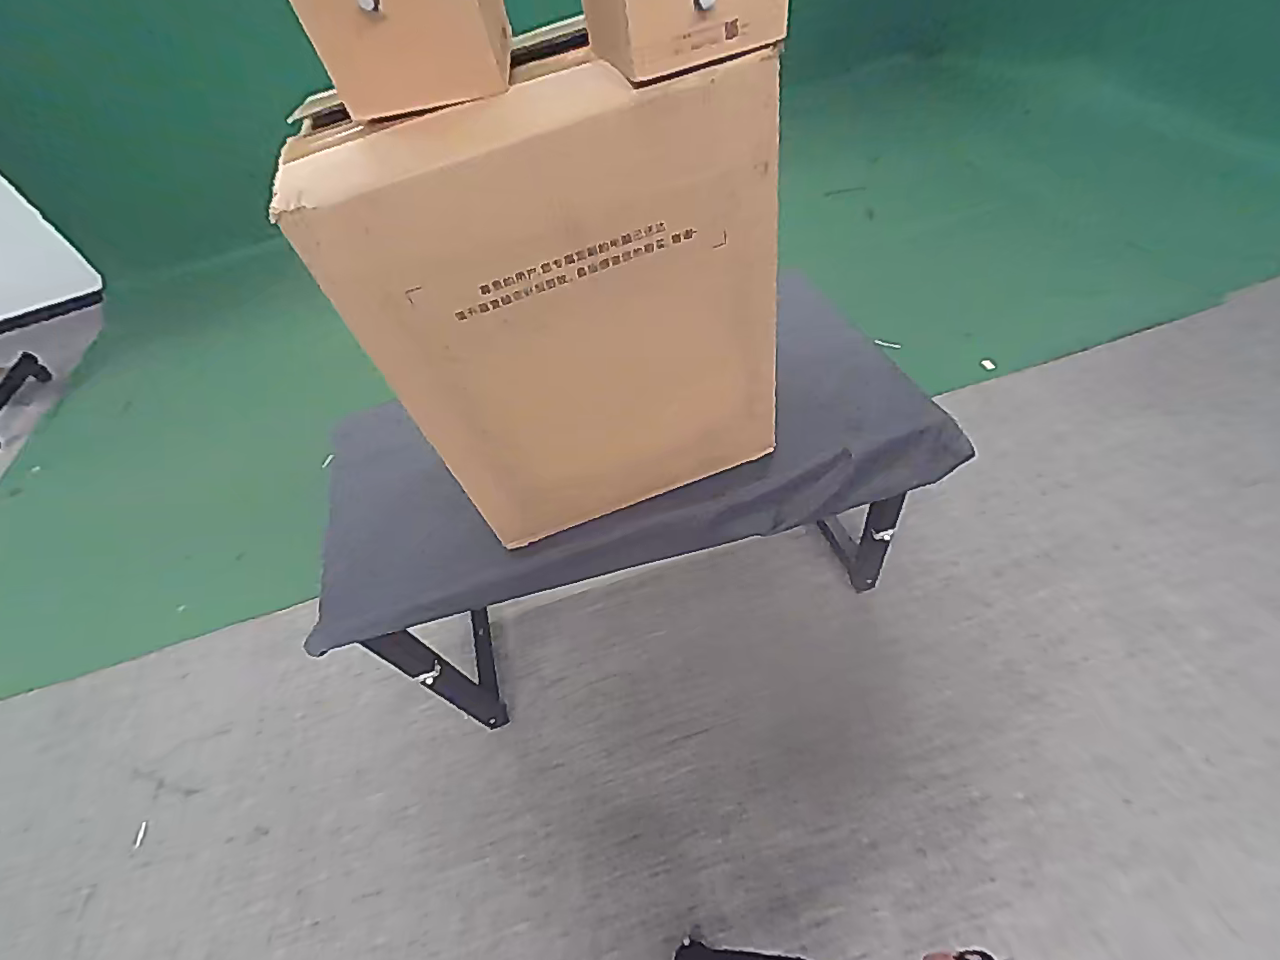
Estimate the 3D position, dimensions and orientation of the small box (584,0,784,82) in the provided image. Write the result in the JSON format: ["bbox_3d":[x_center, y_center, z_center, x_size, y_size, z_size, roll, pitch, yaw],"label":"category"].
[{"bbox_3d":[0.032,-0.523,0.530,0.168,0.176,0.179,-20,51,-4],"label":"small box"}]

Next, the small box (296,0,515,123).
[{"bbox_3d":[-0.246,-0.509,0.566,0.179,0.176,0.168,-9,59,4],"label":"small box"}]
